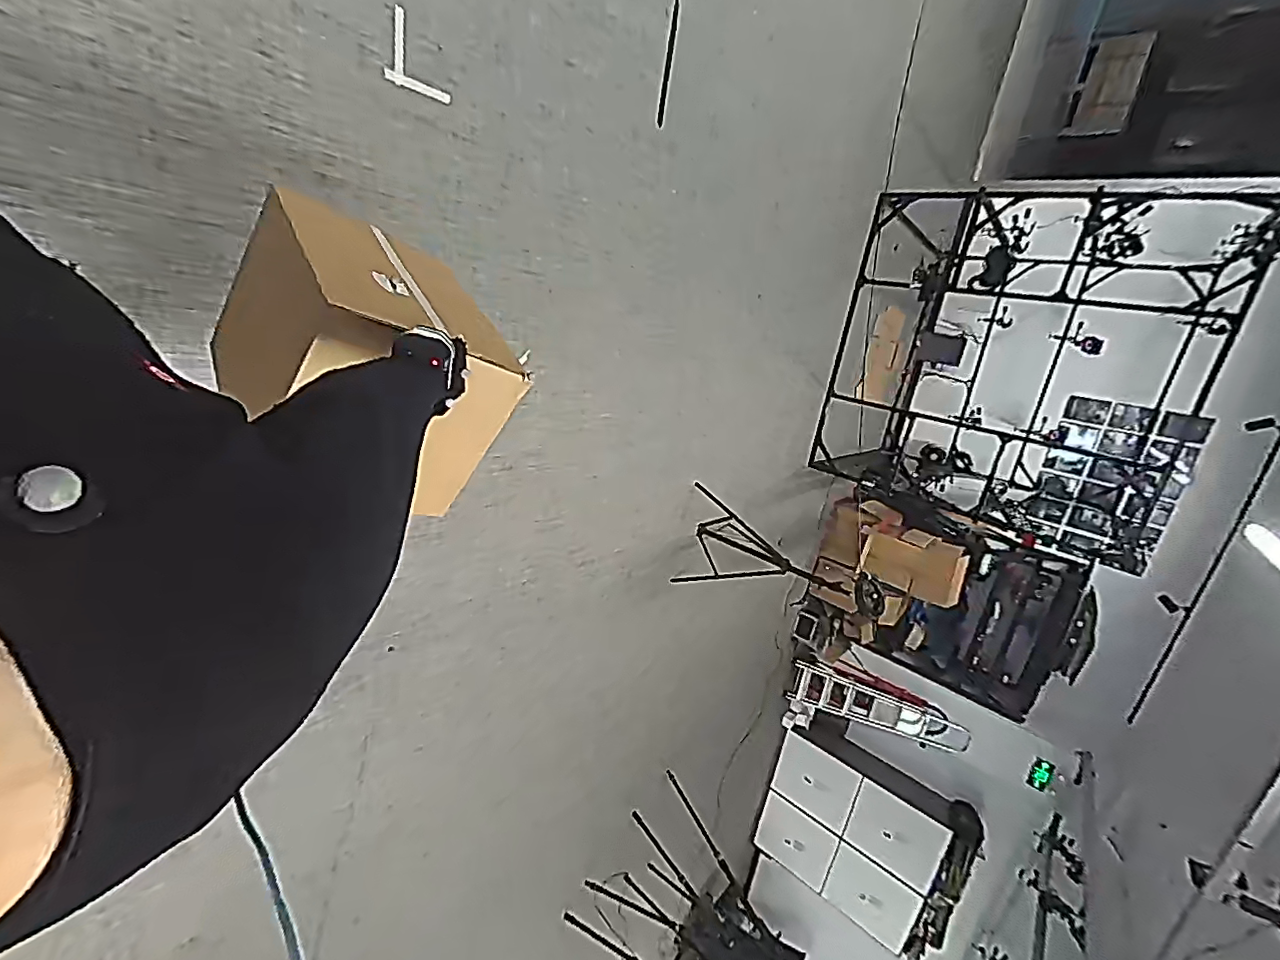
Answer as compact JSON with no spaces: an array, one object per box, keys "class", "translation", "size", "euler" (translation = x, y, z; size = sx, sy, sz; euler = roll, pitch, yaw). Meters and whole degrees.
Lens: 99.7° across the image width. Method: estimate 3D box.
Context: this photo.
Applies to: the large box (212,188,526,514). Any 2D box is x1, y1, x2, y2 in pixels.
[{"class":"large box","translation":[-0.471,-0.199,0.919],"size":[0.320,0.408,0.320],"euler":[13,123,-51]}]
